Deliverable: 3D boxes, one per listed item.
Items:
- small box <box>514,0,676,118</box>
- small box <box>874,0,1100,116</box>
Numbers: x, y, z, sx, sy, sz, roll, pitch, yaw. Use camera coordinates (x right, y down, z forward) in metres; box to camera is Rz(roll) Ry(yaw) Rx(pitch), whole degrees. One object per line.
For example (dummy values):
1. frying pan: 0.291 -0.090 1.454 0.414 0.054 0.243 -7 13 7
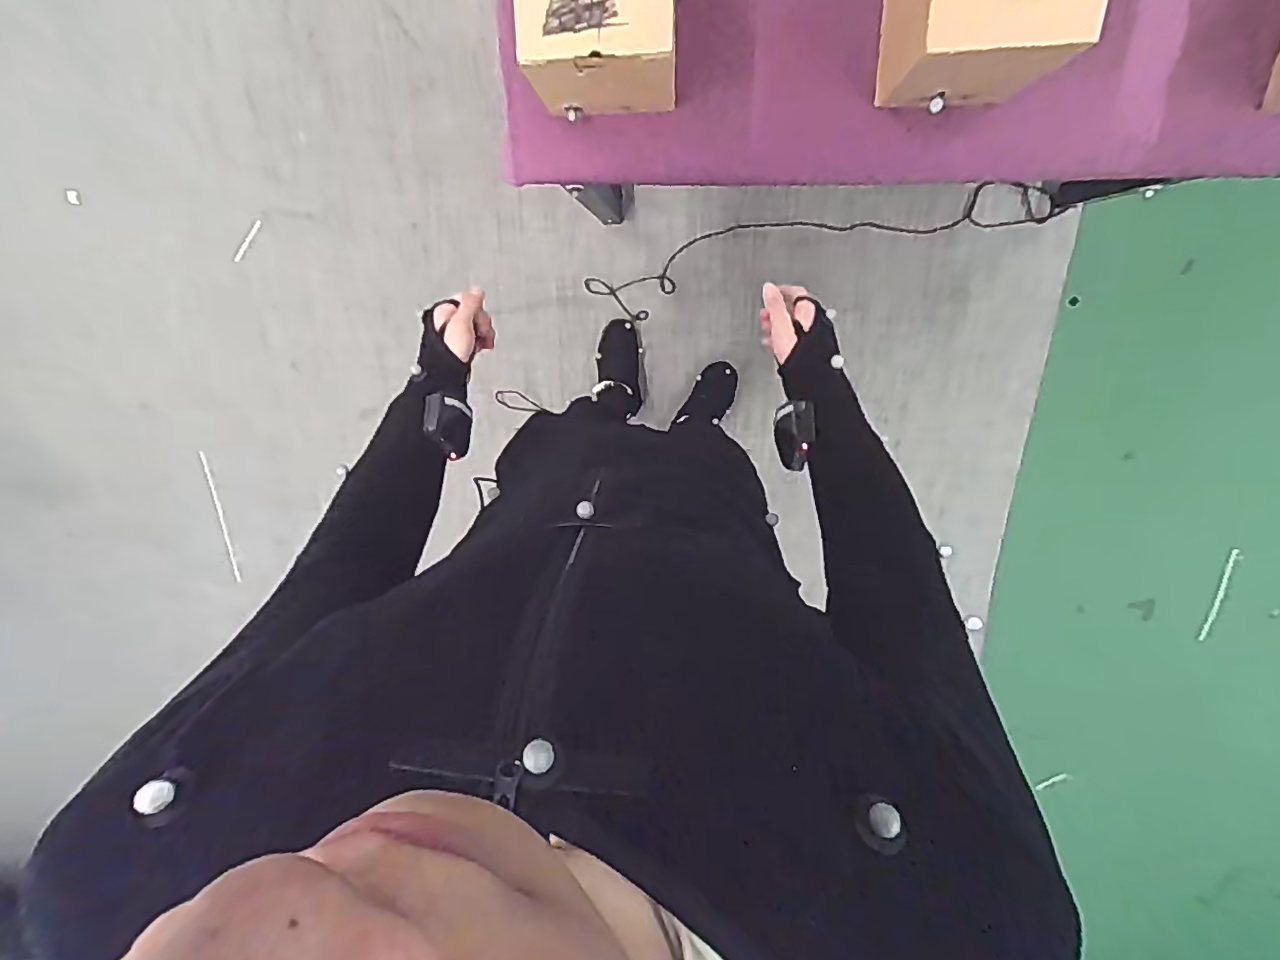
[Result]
1. small box: -0.044 -0.545 0.630 0.168 0.176 0.179 1 107 5
2. small box: 0.371 -0.531 0.593 0.168 0.176 0.179 1 108 6
